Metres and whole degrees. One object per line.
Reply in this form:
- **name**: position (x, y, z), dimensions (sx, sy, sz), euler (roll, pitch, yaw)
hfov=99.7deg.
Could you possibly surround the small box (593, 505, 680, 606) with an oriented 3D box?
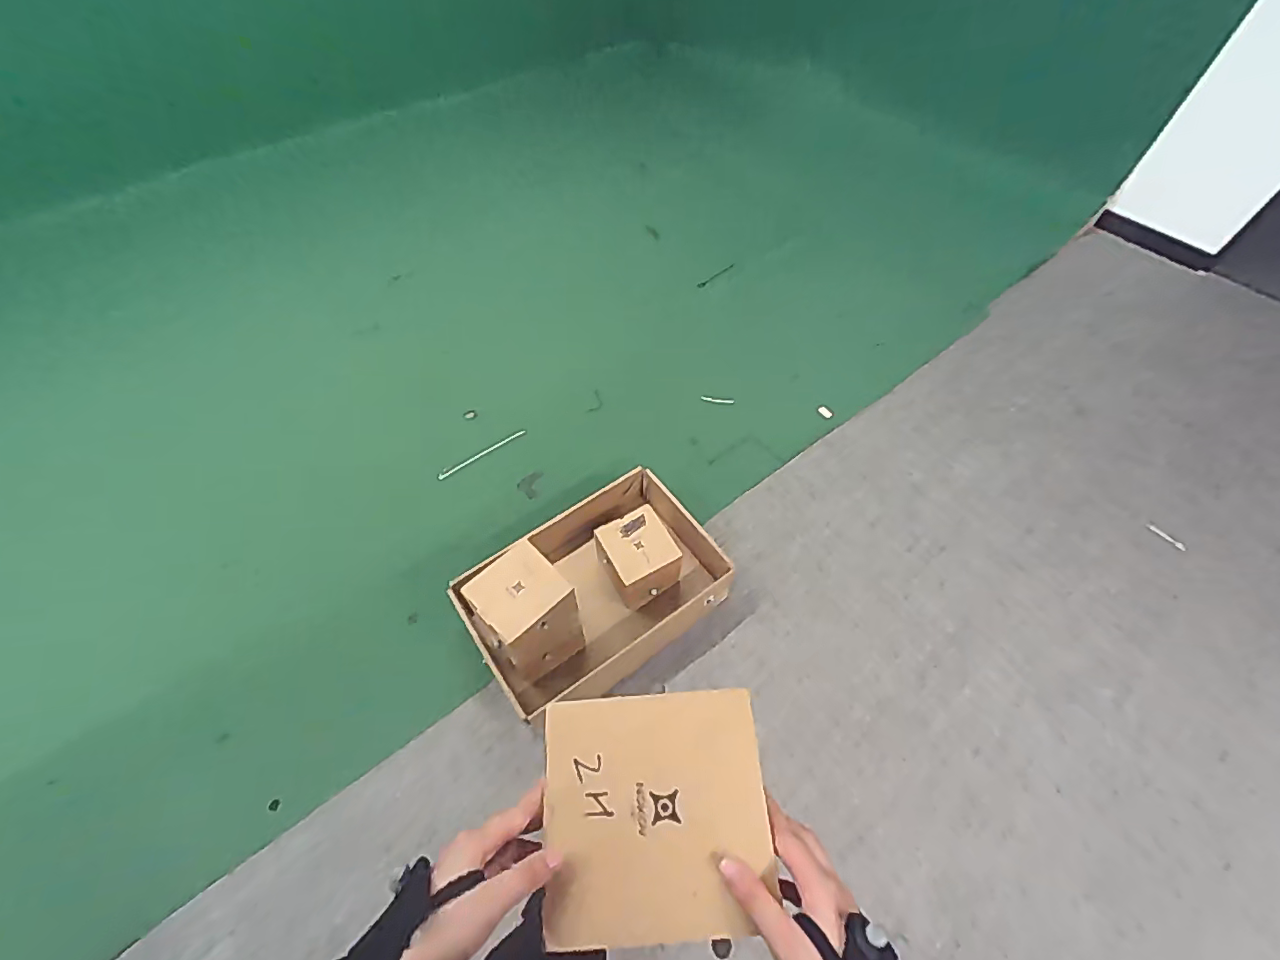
- **small box**: position (-0.014, 0.203, 1.427), dimensions (0.168, 0.176, 0.179), euler (-25, 62, -16)

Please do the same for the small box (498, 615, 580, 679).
- **small box**: position (-0.261, 0.357, 1.321), dimensions (0.179, 0.176, 0.168), euler (-30, 63, -19)

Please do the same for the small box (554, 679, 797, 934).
- **small box**: position (0.023, 0.284, 0.489), dimensions (0.179, 0.176, 0.168), euler (-4, 59, 0)

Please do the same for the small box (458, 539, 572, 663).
- **small box**: position (-0.262, 0.269, 1.181), dimensions (0.168, 0.176, 0.179), euler (40, 62, 21)
